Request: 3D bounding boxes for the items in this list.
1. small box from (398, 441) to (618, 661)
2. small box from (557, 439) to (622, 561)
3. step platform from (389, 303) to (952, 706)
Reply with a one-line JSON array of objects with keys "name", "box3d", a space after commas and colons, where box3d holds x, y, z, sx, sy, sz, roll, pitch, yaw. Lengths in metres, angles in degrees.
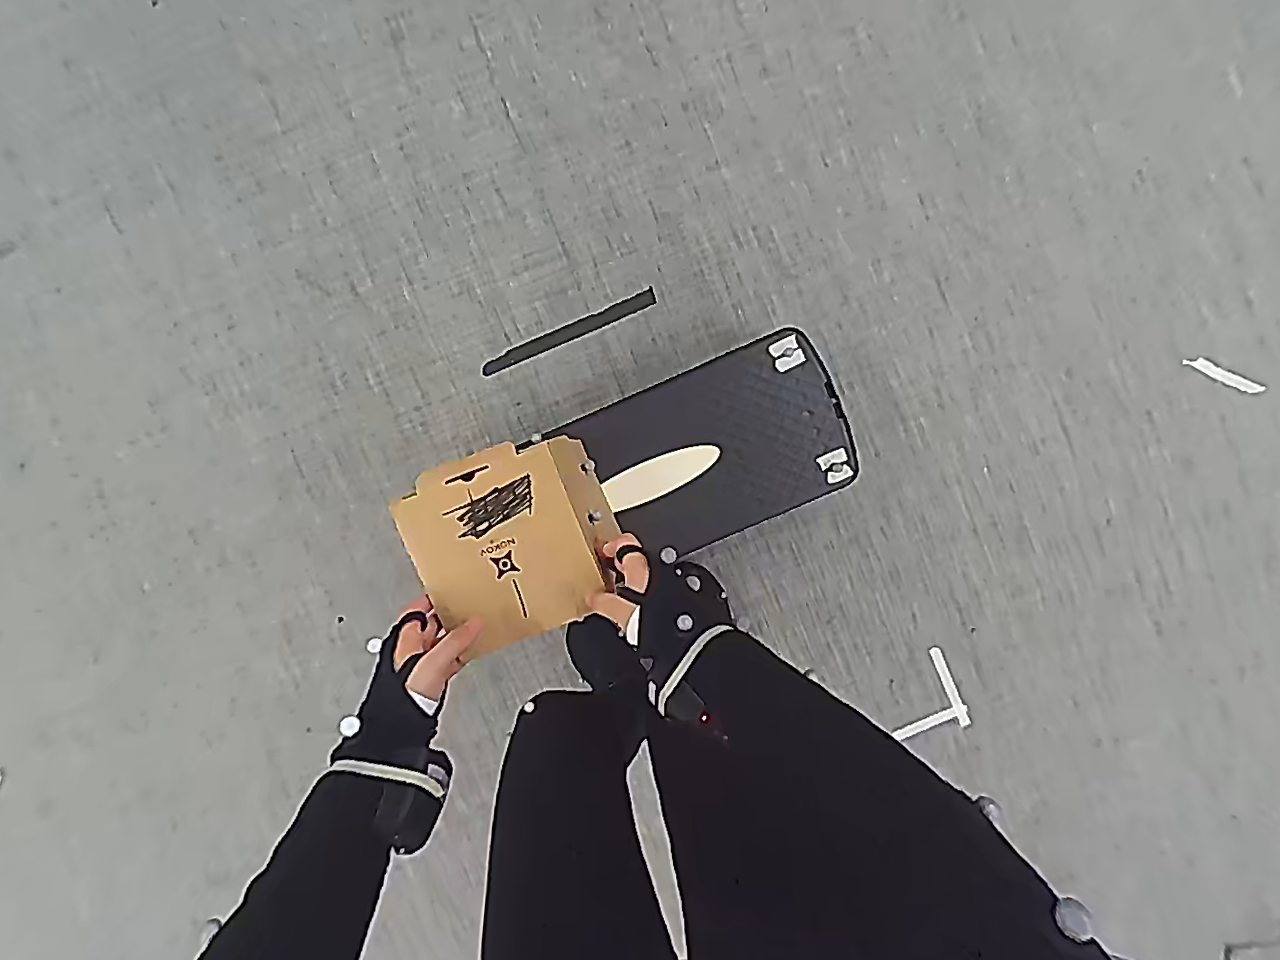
[{"name": "small box", "box3d": [-0.130, 0.063, 0.603, 0.168, 0.176, 0.179, -21, 98, 1]}, {"name": "small box", "box3d": [-0.134, 0.053, 0.787, 0.168, 0.176, 0.179, -24, 93, 2]}, {"name": "step platform", "box3d": [0.035, 0.034, 0.749, 0.684, 0.204, 0.286, -24, 93, 1]}]
